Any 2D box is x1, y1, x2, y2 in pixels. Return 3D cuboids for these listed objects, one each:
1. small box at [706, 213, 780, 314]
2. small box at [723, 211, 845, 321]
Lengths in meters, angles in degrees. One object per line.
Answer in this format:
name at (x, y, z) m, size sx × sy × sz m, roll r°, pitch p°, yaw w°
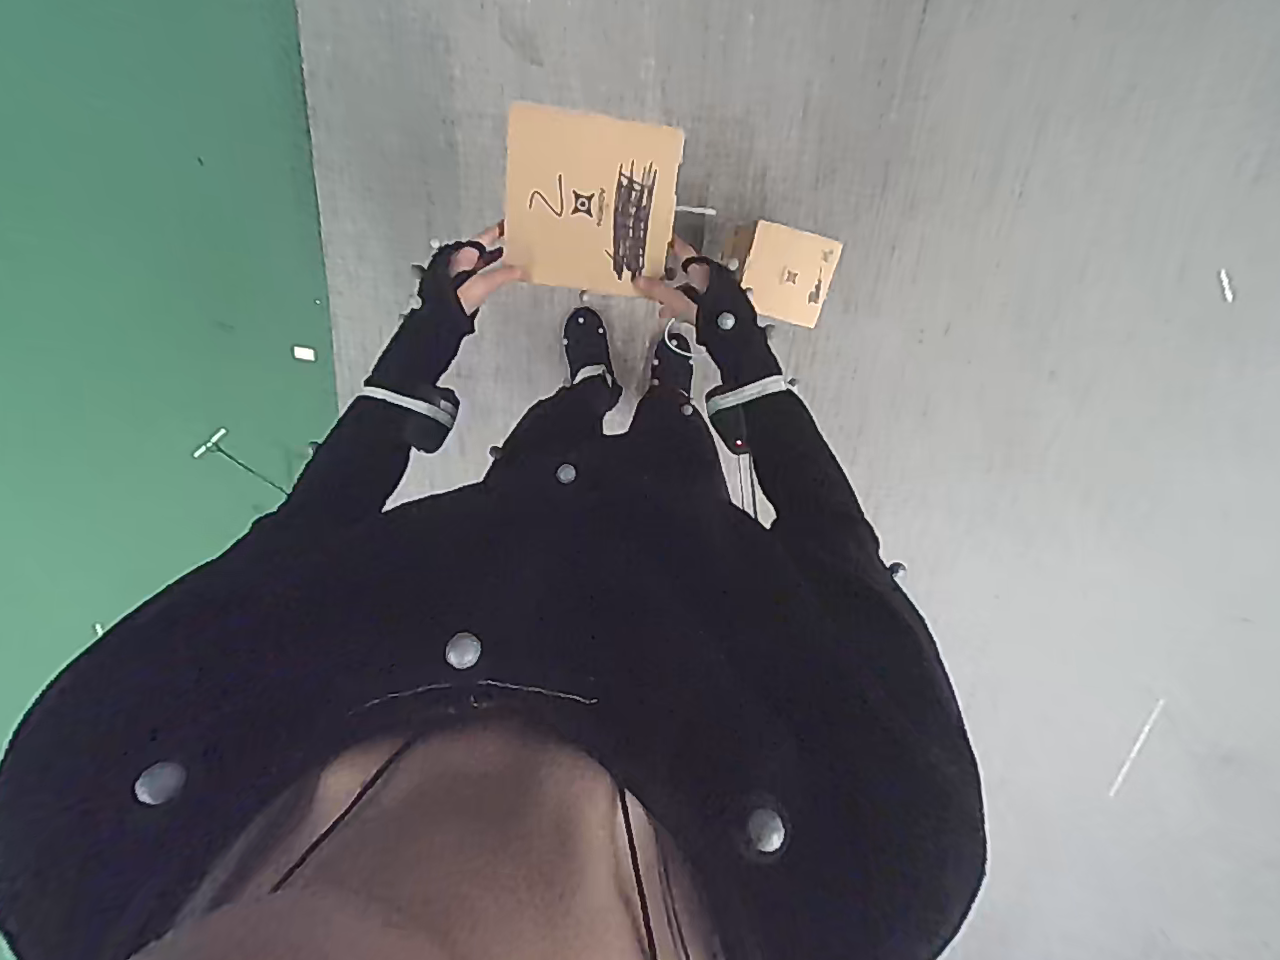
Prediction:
small box at (0.263, -0.504, 1.264) m, size 0.168 × 0.176 × 0.179 m, roll 13°, pitch 111°, yaw -7°
small box at (0.283, -0.437, 1.115) m, size 0.179 × 0.176 × 0.168 m, roll 13°, pitch 111°, yaw -6°
